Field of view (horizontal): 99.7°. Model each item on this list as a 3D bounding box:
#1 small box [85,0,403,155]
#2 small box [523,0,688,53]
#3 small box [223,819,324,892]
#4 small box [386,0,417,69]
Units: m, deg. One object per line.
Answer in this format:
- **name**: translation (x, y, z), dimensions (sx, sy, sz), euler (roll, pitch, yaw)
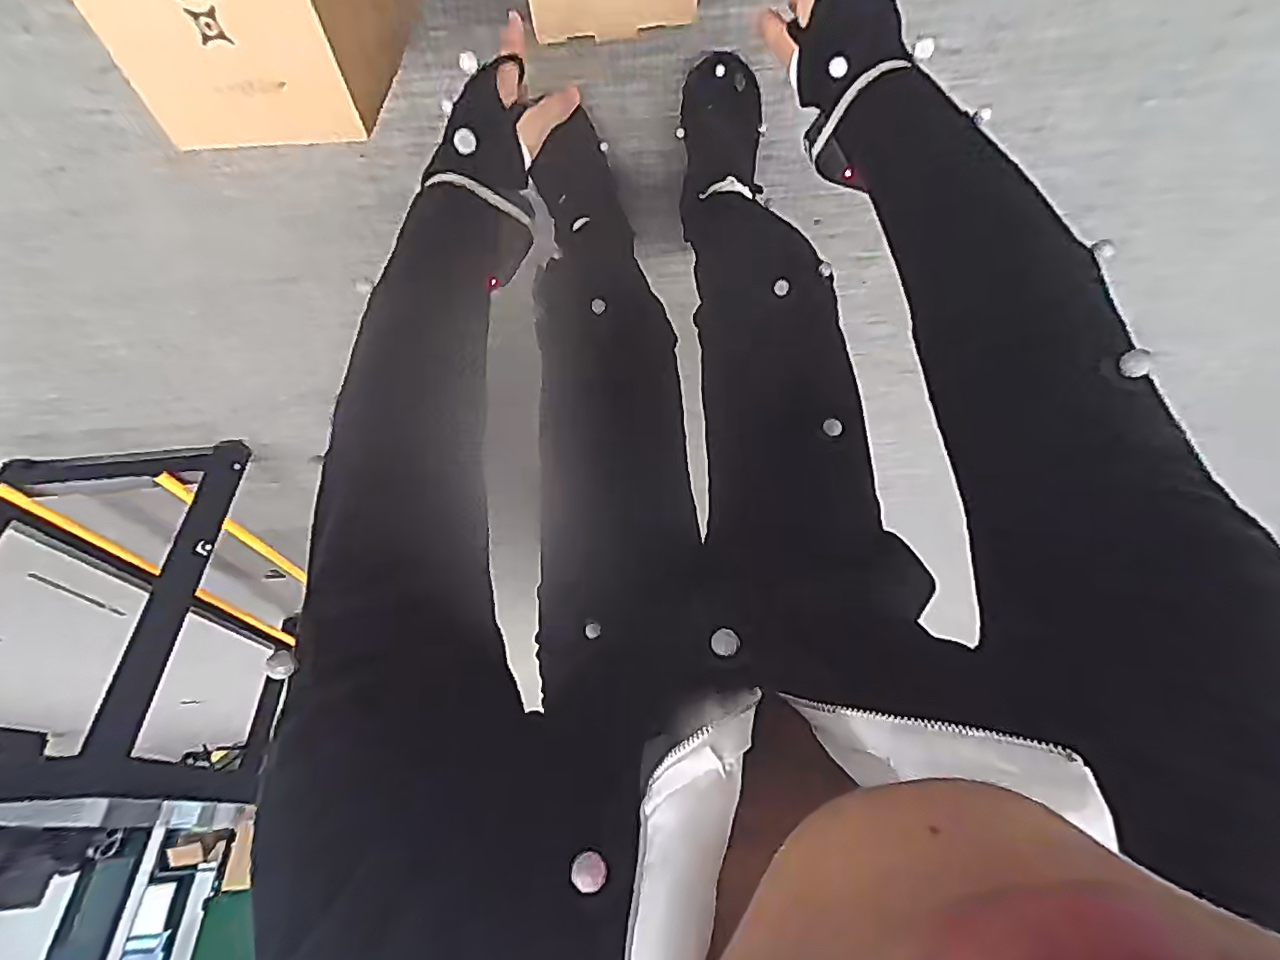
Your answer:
- **small box**: translation (-0.319, -0.404, 0.446), dimensions (0.168, 0.176, 0.179), euler (-3, 148, -1)
- **small box**: translation (-0.041, -0.568, 0.534), dimensions (0.168, 0.176, 0.179), euler (-6, 147, 2)
- **small box**: translation (-1.085, 1.120, 1.620), dimensions (0.168, 0.176, 0.179), euler (-5, 145, 1)
- **small box**: translation (-0.338, -0.536, 0.539), dimensions (0.179, 0.176, 0.168), euler (-3, 146, -2)
